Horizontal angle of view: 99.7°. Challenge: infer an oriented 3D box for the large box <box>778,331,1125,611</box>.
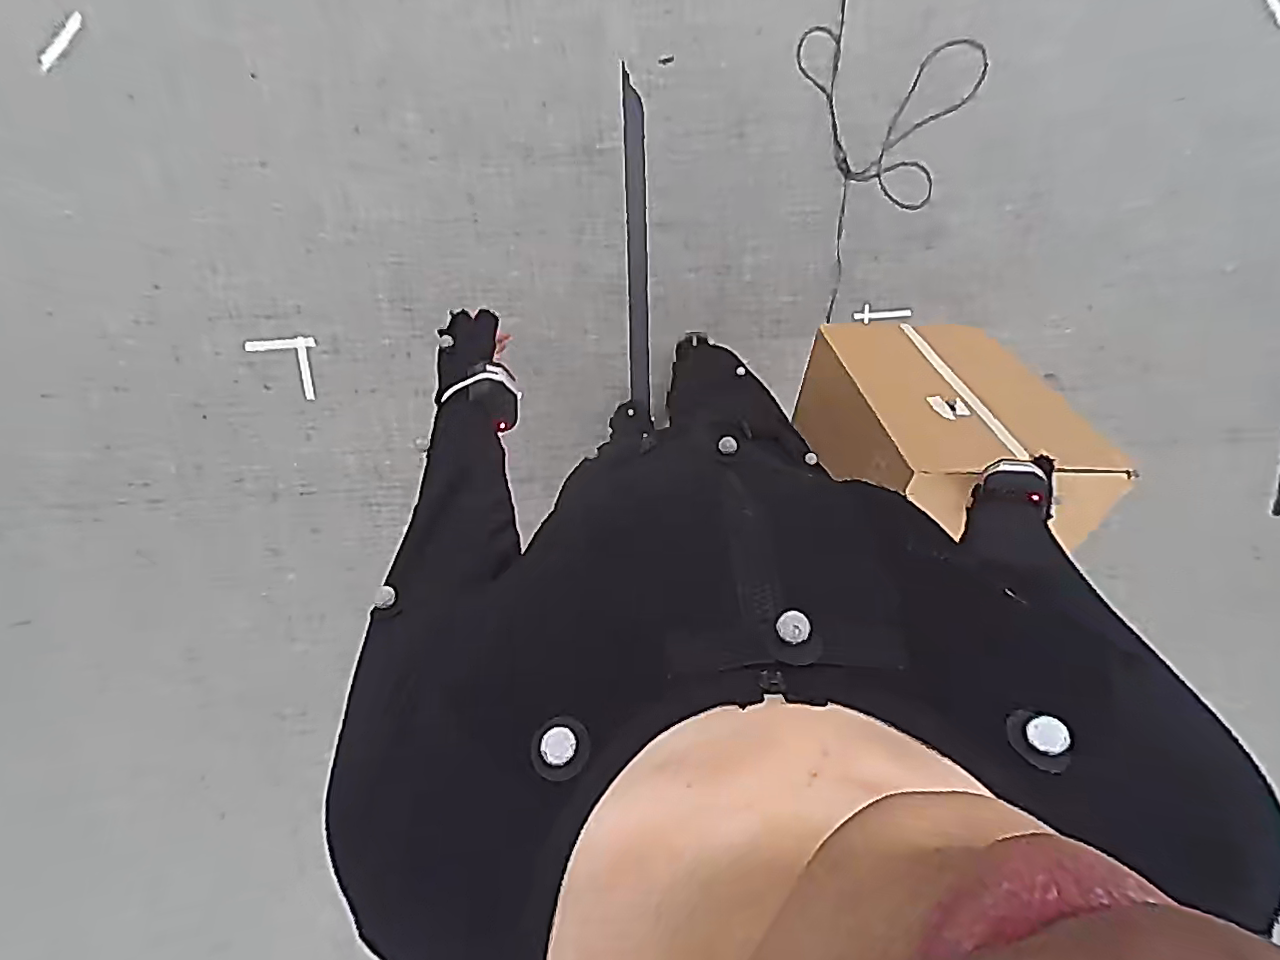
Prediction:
[{"bbox_3d":[0.477,-0.024,0.955,0.320,0.408,0.320,0,133,-5],"label":"large box"}]
